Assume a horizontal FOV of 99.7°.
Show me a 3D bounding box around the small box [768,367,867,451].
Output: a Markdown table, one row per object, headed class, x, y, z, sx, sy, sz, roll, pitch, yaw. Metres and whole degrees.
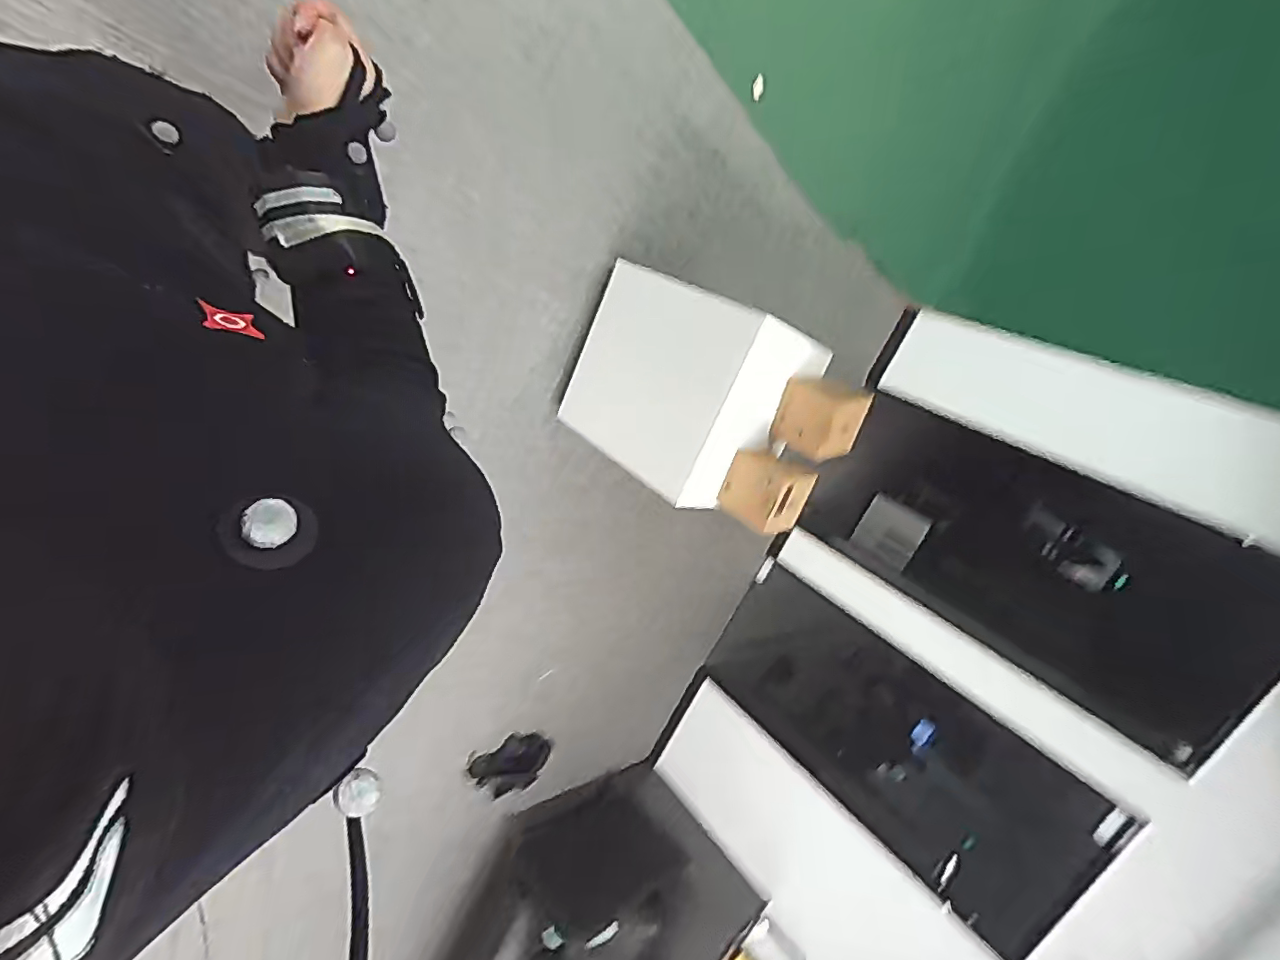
| class | x | y | z | sx | sy | sz | roll | pitch | yaw |
| --- | --- | --- | --- | --- | --- | --- | --- | --- | --- |
| small box | 0.481 | -0.200 | 1.485 | 0.179 | 0.176 | 0.168 | -16 | 131 | -40 |
